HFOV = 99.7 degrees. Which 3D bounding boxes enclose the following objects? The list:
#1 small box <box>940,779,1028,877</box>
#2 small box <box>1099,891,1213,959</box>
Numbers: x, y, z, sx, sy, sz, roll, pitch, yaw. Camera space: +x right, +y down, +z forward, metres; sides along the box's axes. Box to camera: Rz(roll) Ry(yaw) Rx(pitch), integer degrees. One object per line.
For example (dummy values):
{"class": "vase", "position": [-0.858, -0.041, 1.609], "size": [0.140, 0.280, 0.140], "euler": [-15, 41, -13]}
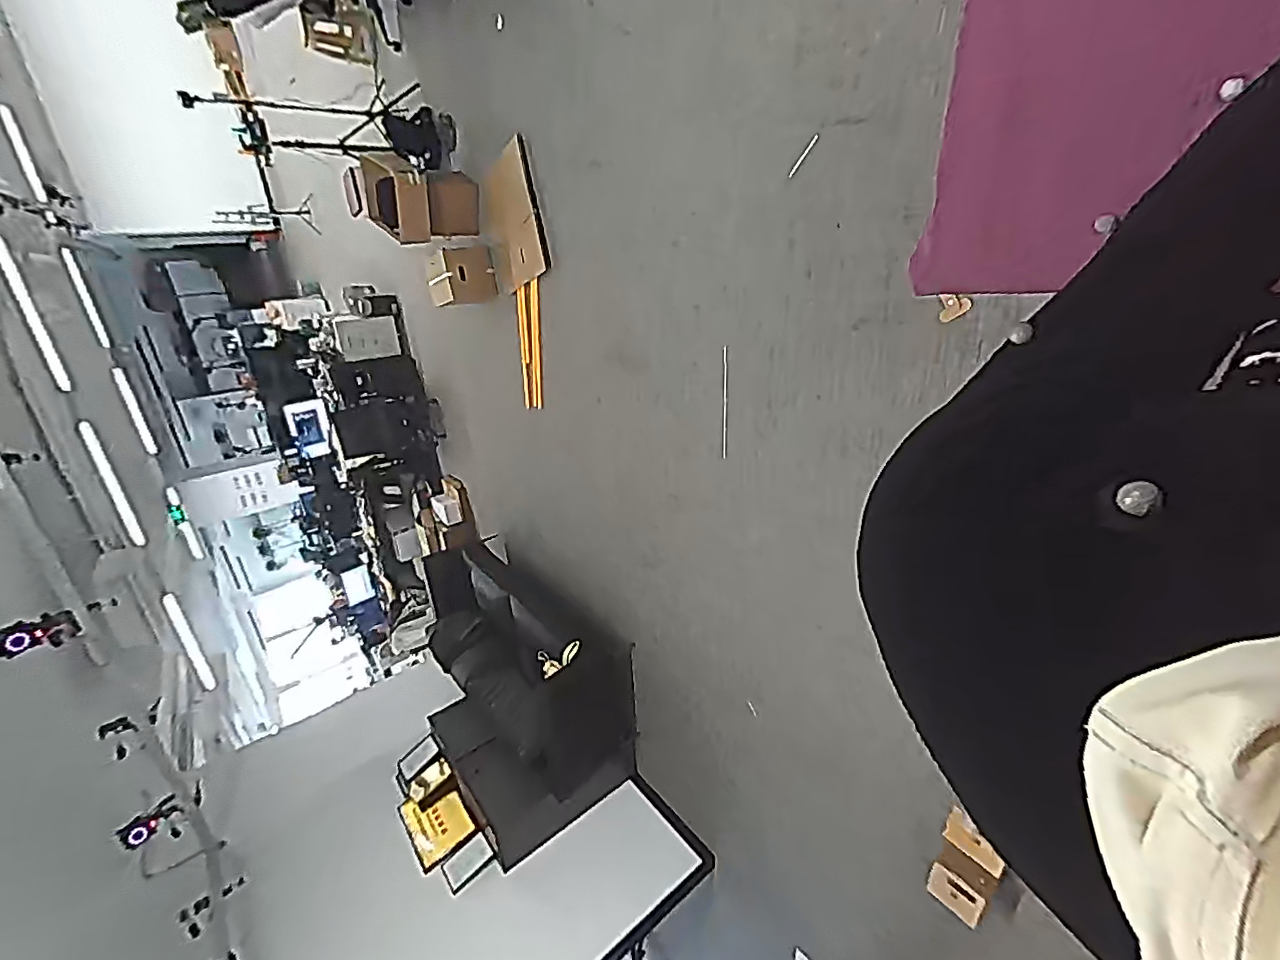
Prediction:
{"class": "small box", "position": [1.127, 1.129, 1.769], "size": [0.179, 0.176, 0.168], "euler": [29, 129, 46]}
{"class": "small box", "position": [1.395, 1.278, 1.461], "size": [0.168, 0.176, 0.179], "euler": [27, 128, 45]}
